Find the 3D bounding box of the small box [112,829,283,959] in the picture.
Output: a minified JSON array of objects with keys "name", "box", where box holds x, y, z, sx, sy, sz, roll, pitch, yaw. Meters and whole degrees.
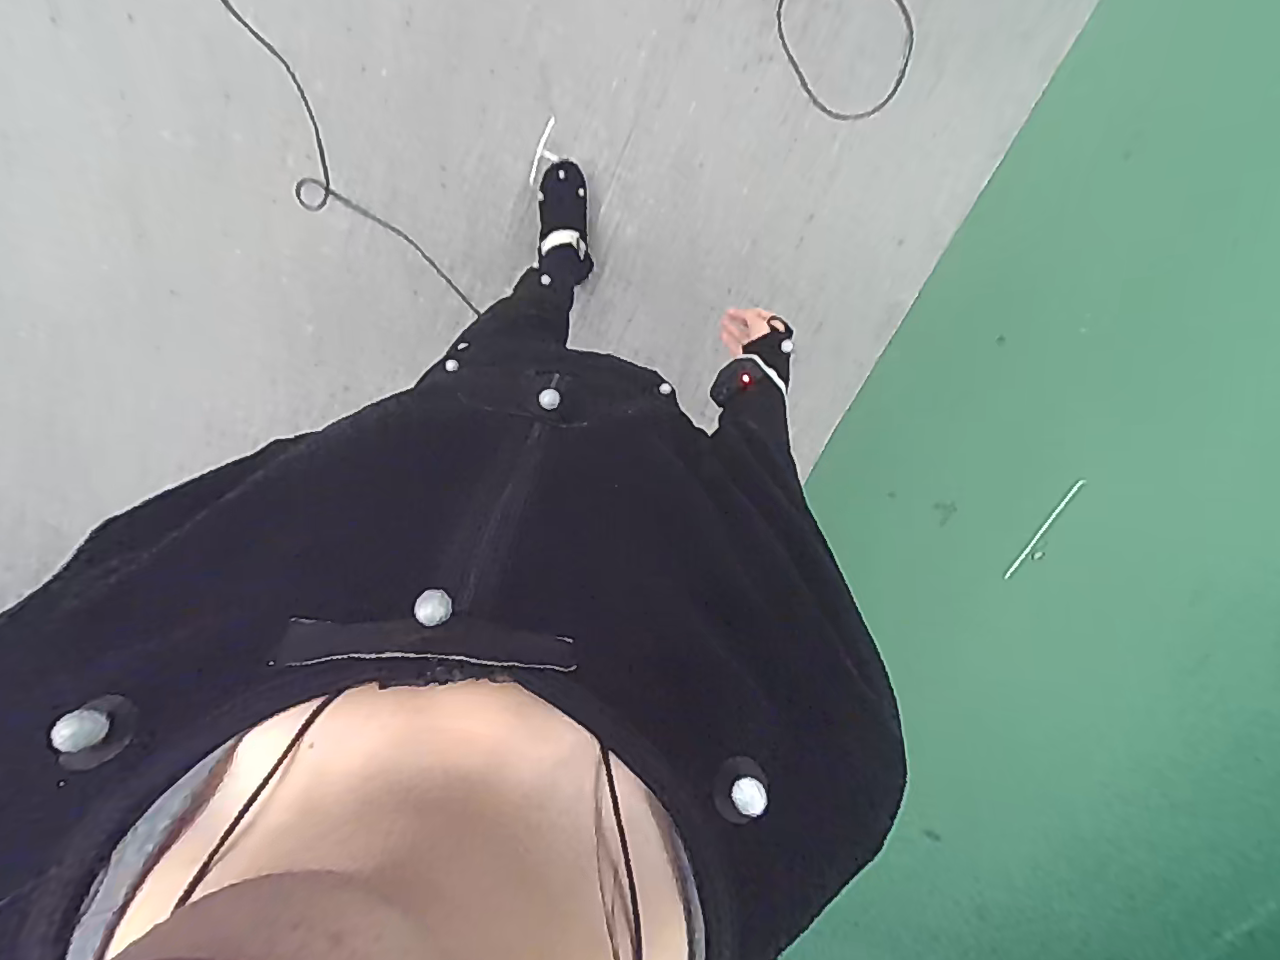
[{"name":"small box","box":[-0.827,0.803,1.022,0.179,0.176,0.168,25,107,-13]}]
